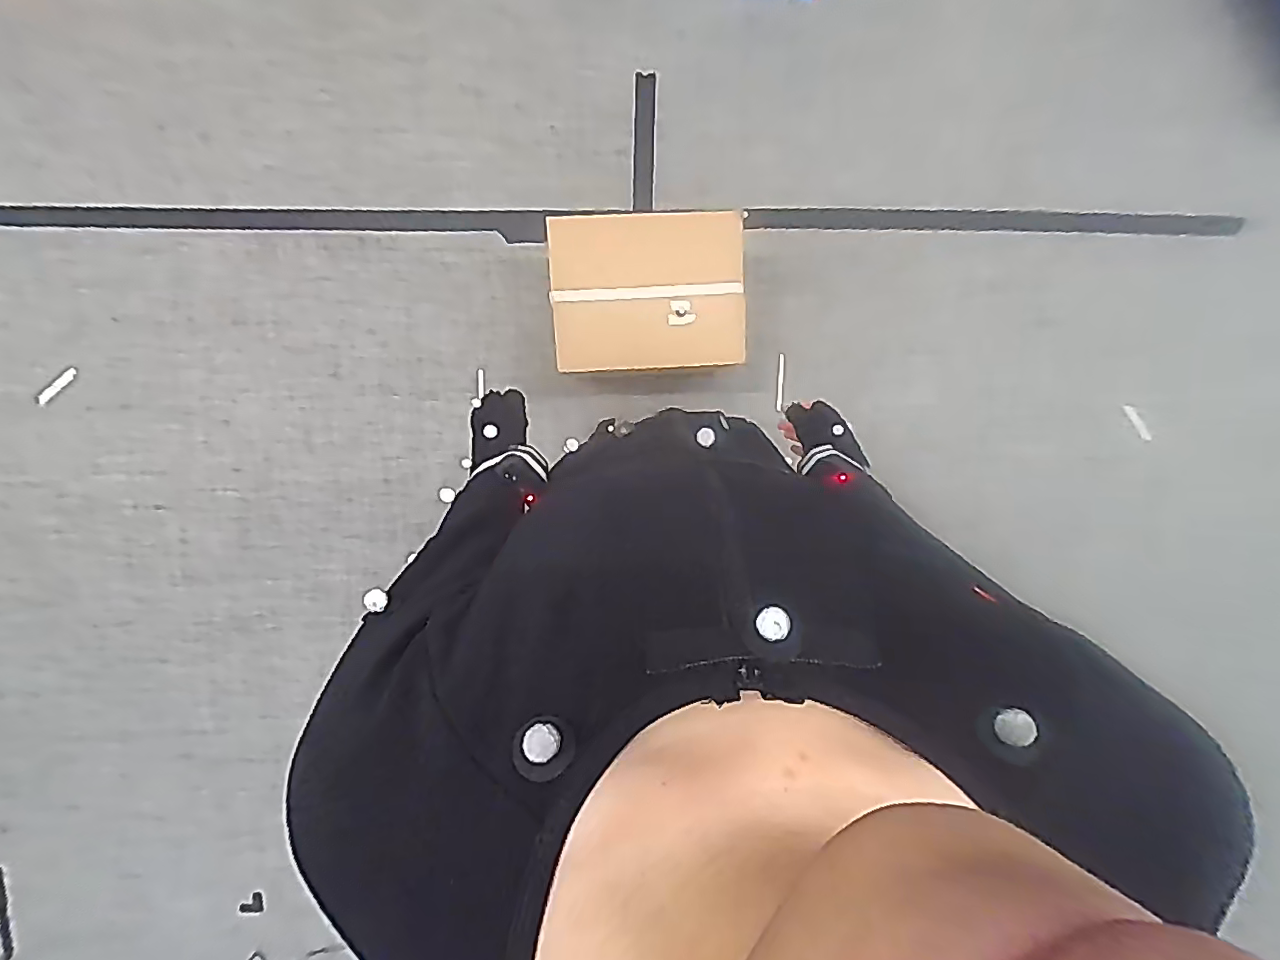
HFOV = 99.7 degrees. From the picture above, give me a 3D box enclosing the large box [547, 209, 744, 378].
[{"bbox_3d":[0.007,-0.417,1.276,0.408,0.320,0.320,-4,99,-3],"label":"large box"}]
